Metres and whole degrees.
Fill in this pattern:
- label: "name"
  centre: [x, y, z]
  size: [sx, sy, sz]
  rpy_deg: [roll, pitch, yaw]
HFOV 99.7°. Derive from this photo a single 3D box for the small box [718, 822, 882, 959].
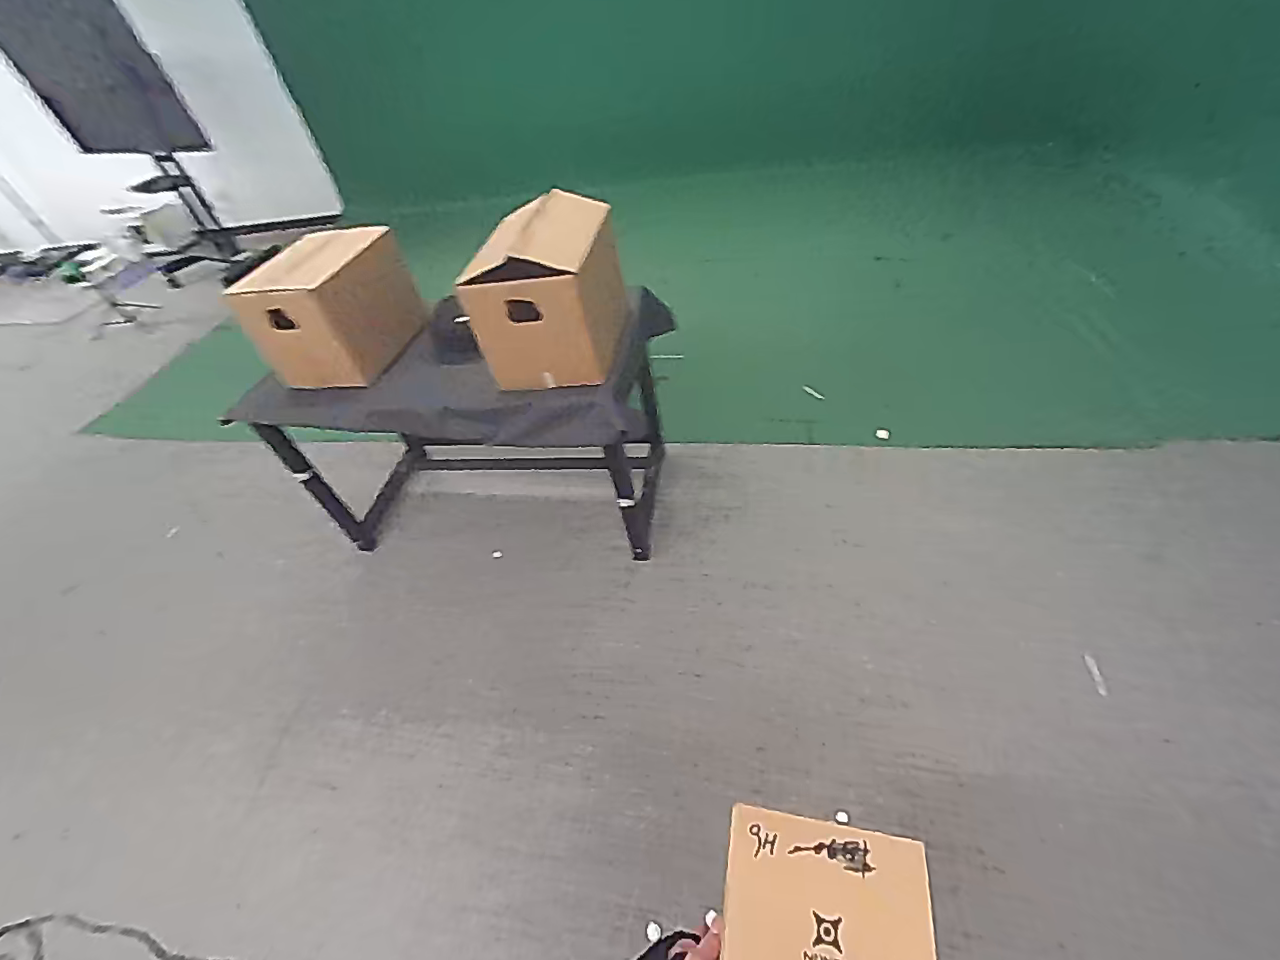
- label: "small box"
  centre: [0.178, 0.525, 0.629]
  size: [0.168, 0.176, 0.179]
  rpy_deg: [2, 49, 11]
